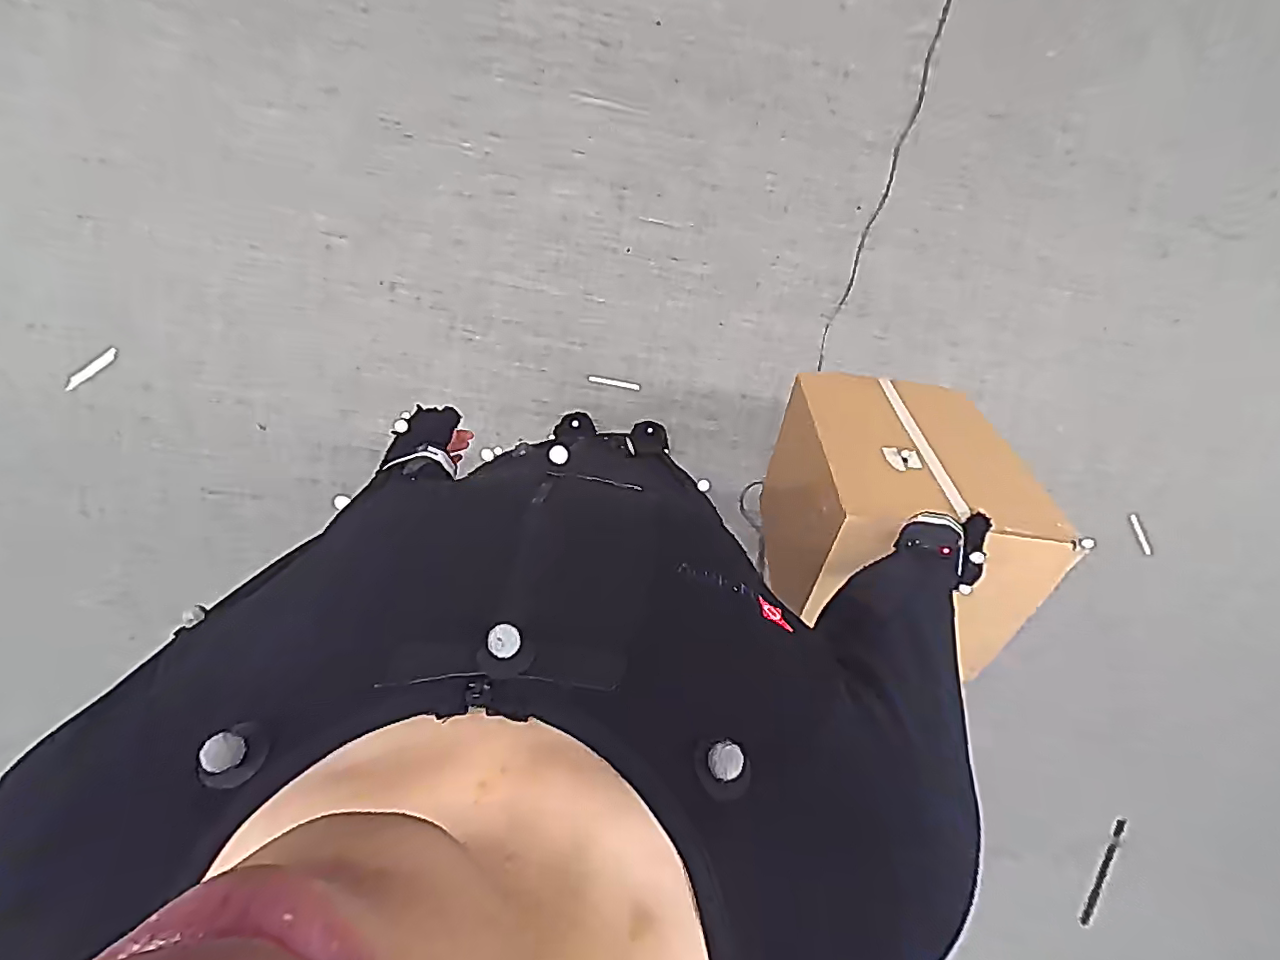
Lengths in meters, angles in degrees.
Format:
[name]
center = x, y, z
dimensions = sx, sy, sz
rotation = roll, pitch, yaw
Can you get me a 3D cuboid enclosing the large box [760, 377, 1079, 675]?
[large box]
center = 0.417, 0.066, 0.946
dimensions = 0.320, 0.408, 0.320
rotation = 6, 129, 0
